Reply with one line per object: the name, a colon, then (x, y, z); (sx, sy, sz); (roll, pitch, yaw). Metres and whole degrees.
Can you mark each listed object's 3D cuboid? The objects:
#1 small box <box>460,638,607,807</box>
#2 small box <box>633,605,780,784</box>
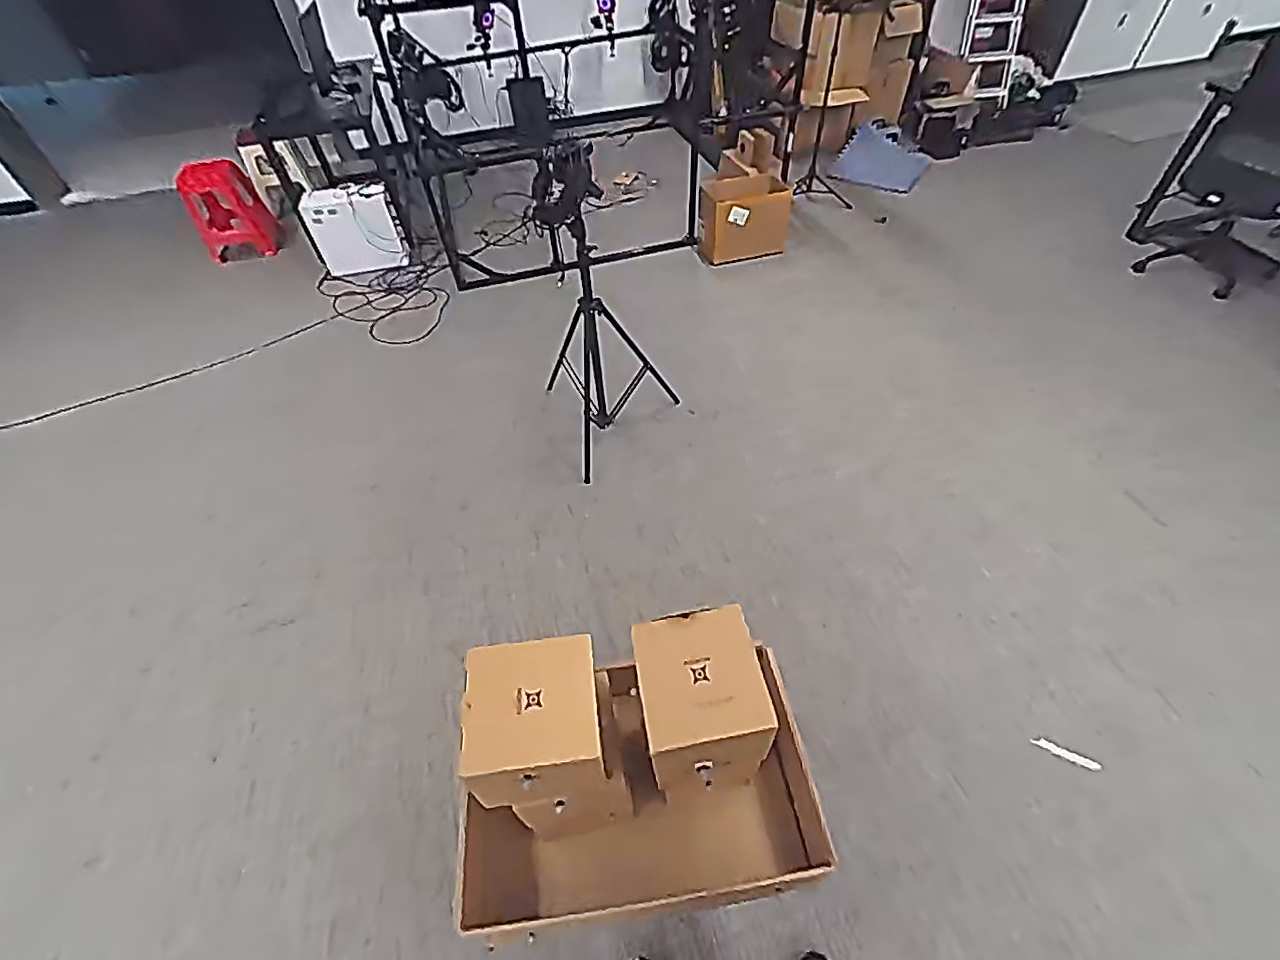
small box: (-0.140, 0.344, 0.765); (0.179, 0.176, 0.168); (-7, 49, -5)
small box: (0.087, 0.310, 0.779); (0.168, 0.176, 0.179); (-10, 48, -3)
